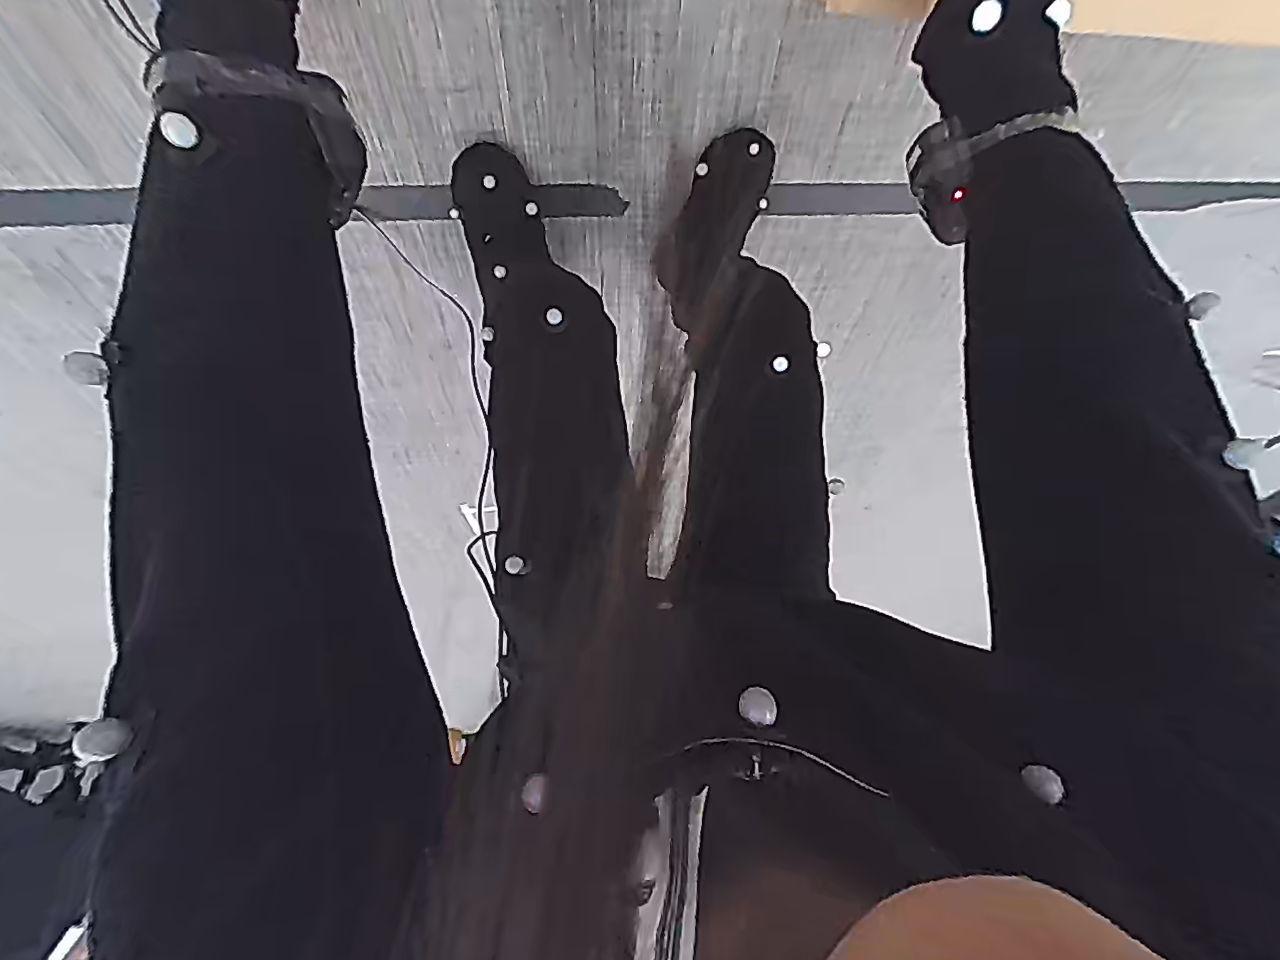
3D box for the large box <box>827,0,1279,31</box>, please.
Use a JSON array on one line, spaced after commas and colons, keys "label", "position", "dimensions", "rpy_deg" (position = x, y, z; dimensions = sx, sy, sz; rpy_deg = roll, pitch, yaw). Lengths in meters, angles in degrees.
[{"label": "large box", "position": [0.322, -0.566, 0.375], "dimensions": [0.408, 0.320, 0.320], "rpy_deg": [-4, 148, -8]}]
